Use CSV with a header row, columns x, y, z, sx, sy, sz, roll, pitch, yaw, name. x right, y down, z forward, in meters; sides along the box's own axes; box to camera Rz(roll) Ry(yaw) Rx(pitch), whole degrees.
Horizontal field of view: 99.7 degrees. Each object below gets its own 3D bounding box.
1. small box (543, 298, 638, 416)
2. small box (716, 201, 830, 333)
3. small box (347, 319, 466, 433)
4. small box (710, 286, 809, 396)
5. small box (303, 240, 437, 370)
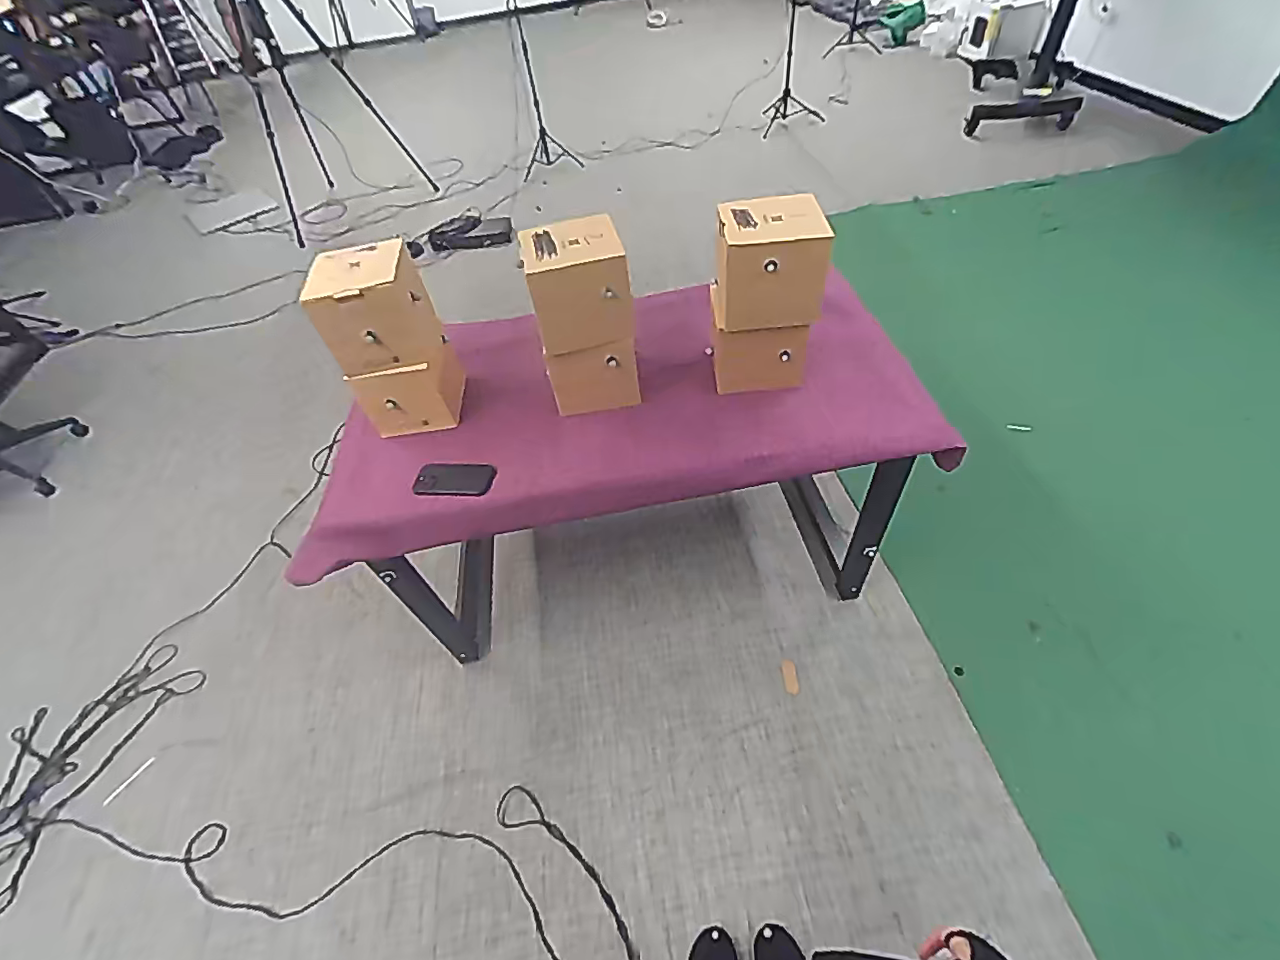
x,y,z,sx,sy,sz,roll,pitch,yaw,name
-0.099,-0.256,1.140,0.179,0.176,0.168,-8,49,1,small box
0.233,-0.387,0.994,0.179,0.176,0.168,-3,49,4,small box
-0.487,-0.216,1.159,0.168,0.176,0.179,-8,49,1,small box
0.239,-0.292,1.128,0.179,0.176,0.168,-3,49,5,small box
-0.505,-0.328,1.039,0.168,0.176,0.179,-11,50,-3,small box
